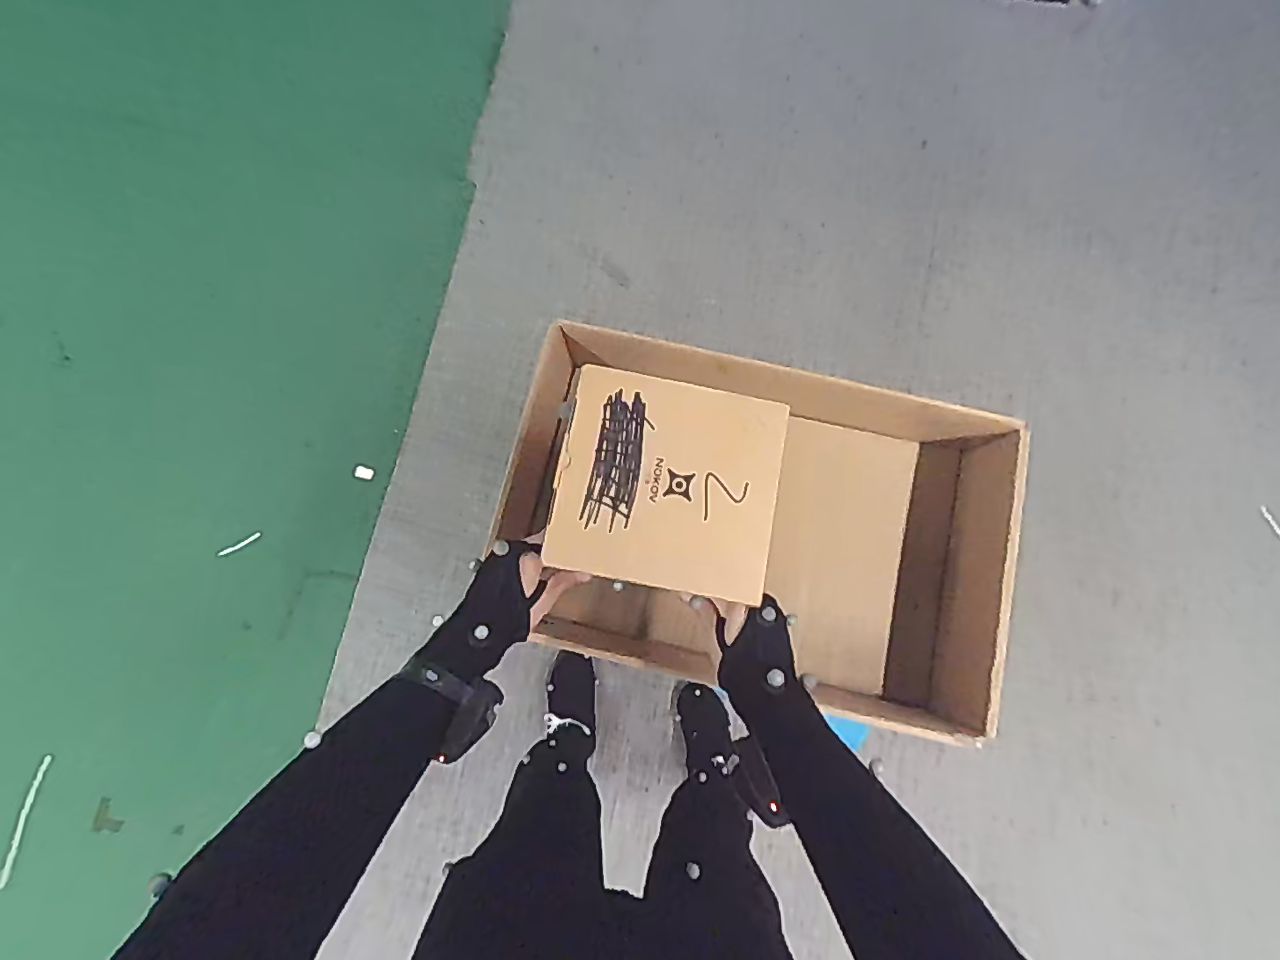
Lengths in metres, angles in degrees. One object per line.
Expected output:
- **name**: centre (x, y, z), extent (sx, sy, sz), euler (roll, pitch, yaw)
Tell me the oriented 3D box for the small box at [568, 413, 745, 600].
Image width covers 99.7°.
- **small box**: centre (0.015, 0.040, 0.664), extent (0.168, 0.176, 0.179), euler (13, 80, -1)
